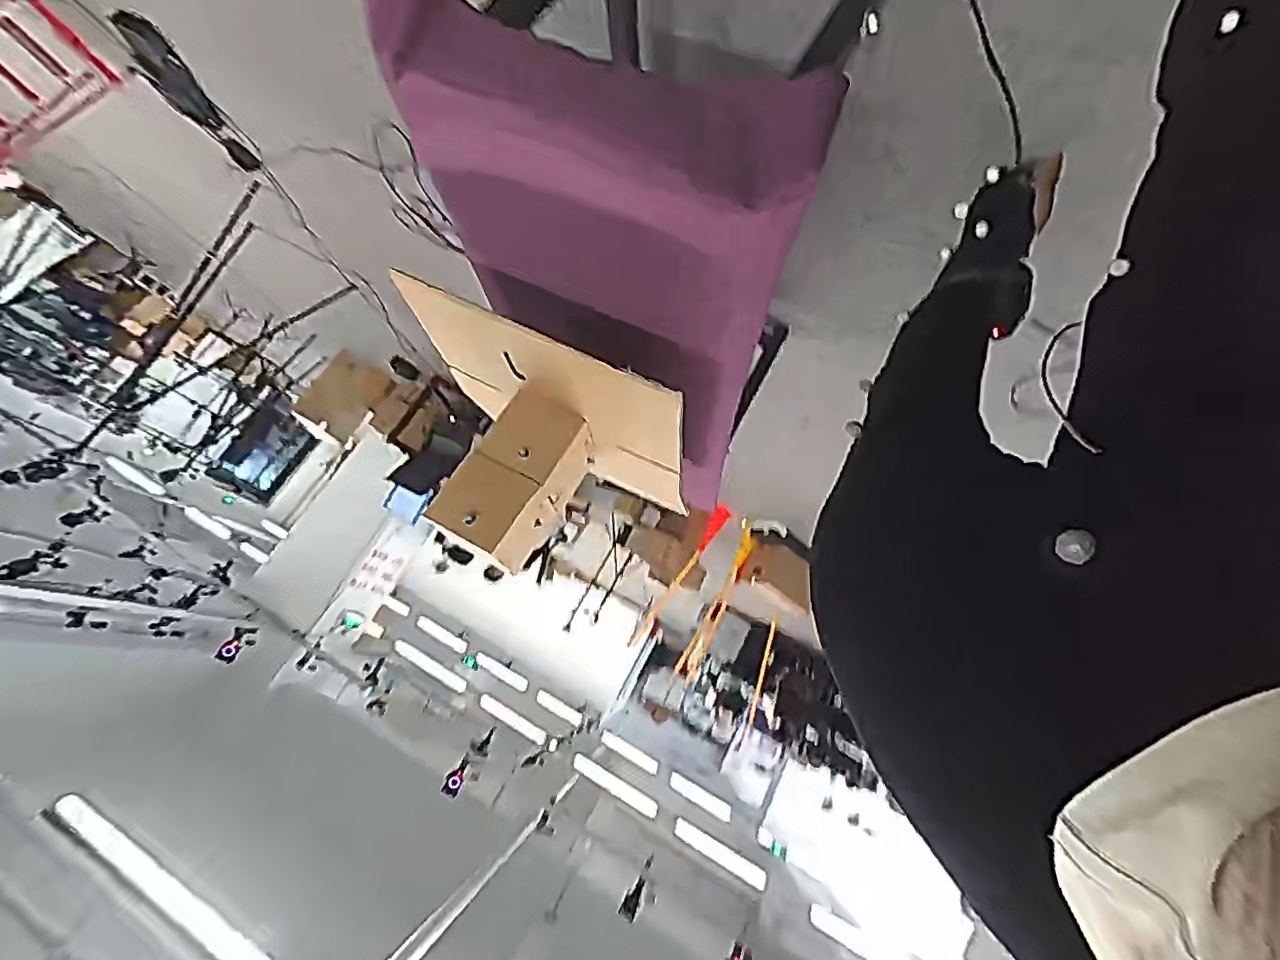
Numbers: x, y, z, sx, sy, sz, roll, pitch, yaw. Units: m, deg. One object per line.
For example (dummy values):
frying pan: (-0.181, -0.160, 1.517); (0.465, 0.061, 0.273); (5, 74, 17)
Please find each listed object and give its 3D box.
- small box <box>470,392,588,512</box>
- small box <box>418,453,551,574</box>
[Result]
small box: (-0.227, -0.063, 1.173); (0.179, 0.176, 0.168); (27, 160, 15)
small box: (-0.313, 0.065, 1.123); (0.179, 0.176, 0.168); (25, 159, 15)
